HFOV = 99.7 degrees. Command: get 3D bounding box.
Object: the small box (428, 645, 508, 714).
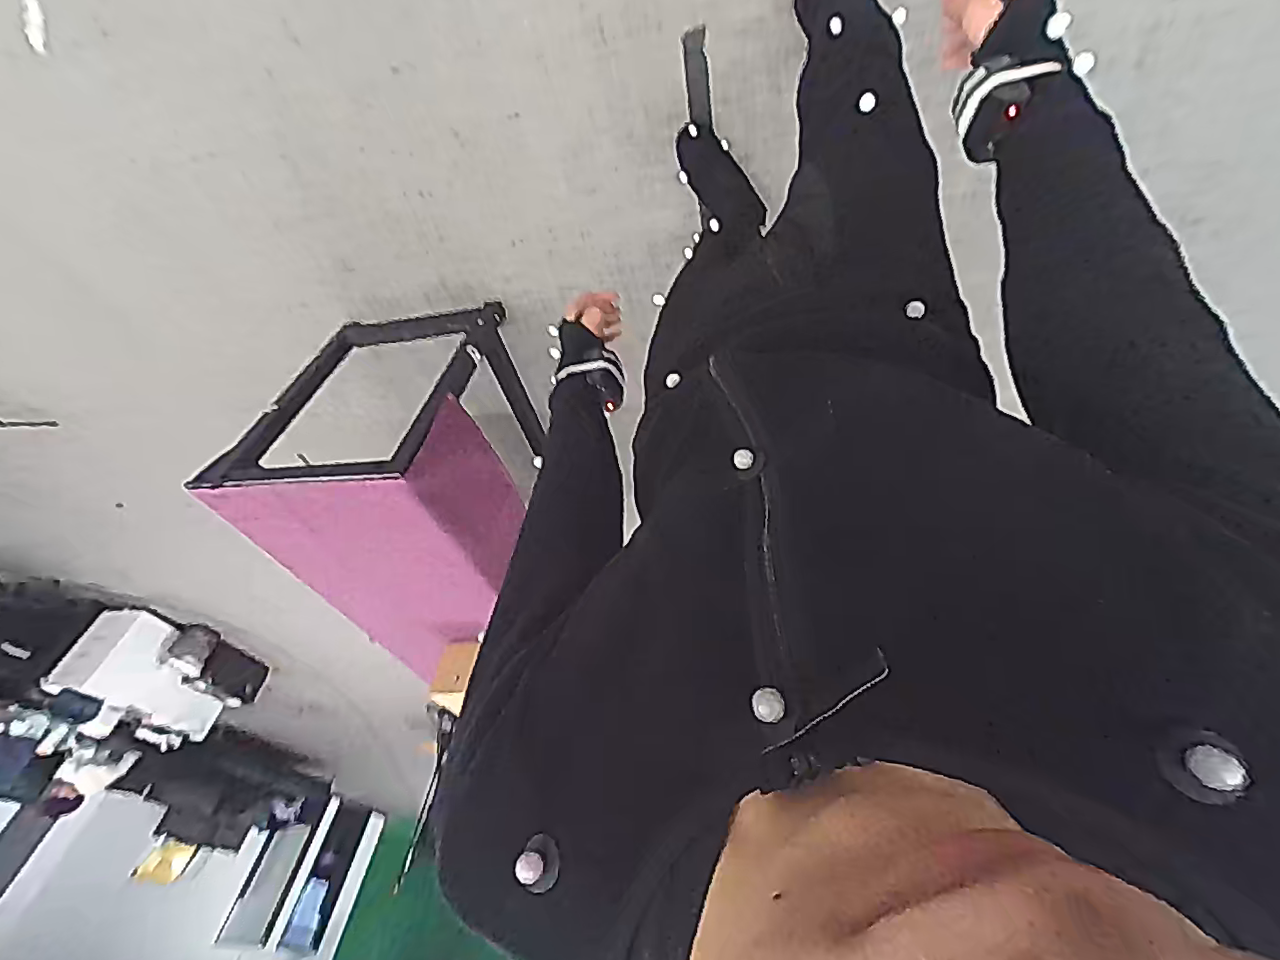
[{"bbox_3d":[-0.550,0.651,1.770,0.179,0.176,0.168,-9,135,20],"label":"small box"}]
